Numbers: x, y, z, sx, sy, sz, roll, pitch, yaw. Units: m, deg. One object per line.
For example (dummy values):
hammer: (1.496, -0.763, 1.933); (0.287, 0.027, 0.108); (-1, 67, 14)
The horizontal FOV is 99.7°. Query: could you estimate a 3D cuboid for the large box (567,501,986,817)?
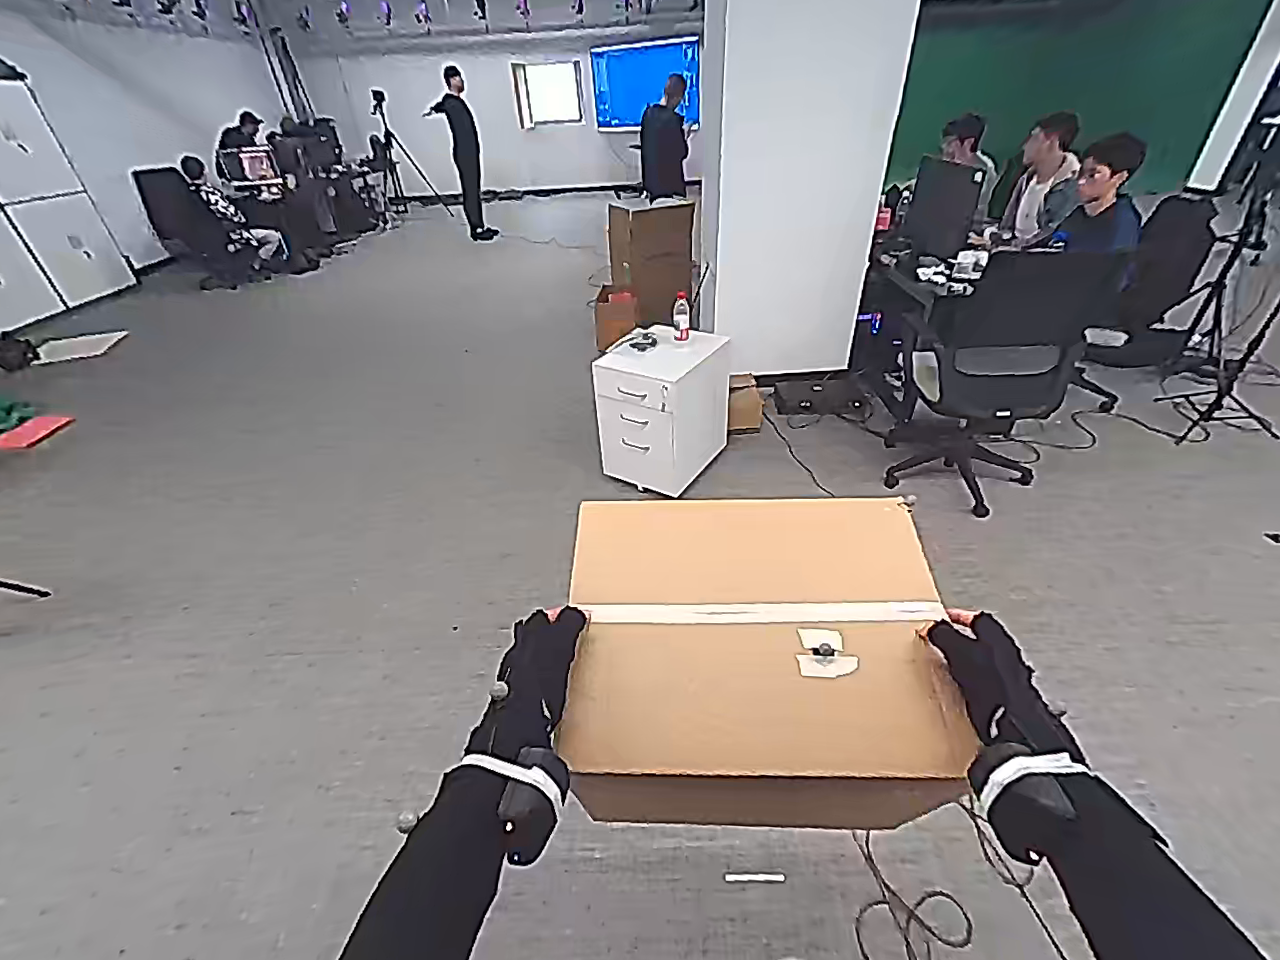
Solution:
large box: (0.133, 0.243, 0.717); (0.408, 0.320, 0.320); (-1, 51, 3)
